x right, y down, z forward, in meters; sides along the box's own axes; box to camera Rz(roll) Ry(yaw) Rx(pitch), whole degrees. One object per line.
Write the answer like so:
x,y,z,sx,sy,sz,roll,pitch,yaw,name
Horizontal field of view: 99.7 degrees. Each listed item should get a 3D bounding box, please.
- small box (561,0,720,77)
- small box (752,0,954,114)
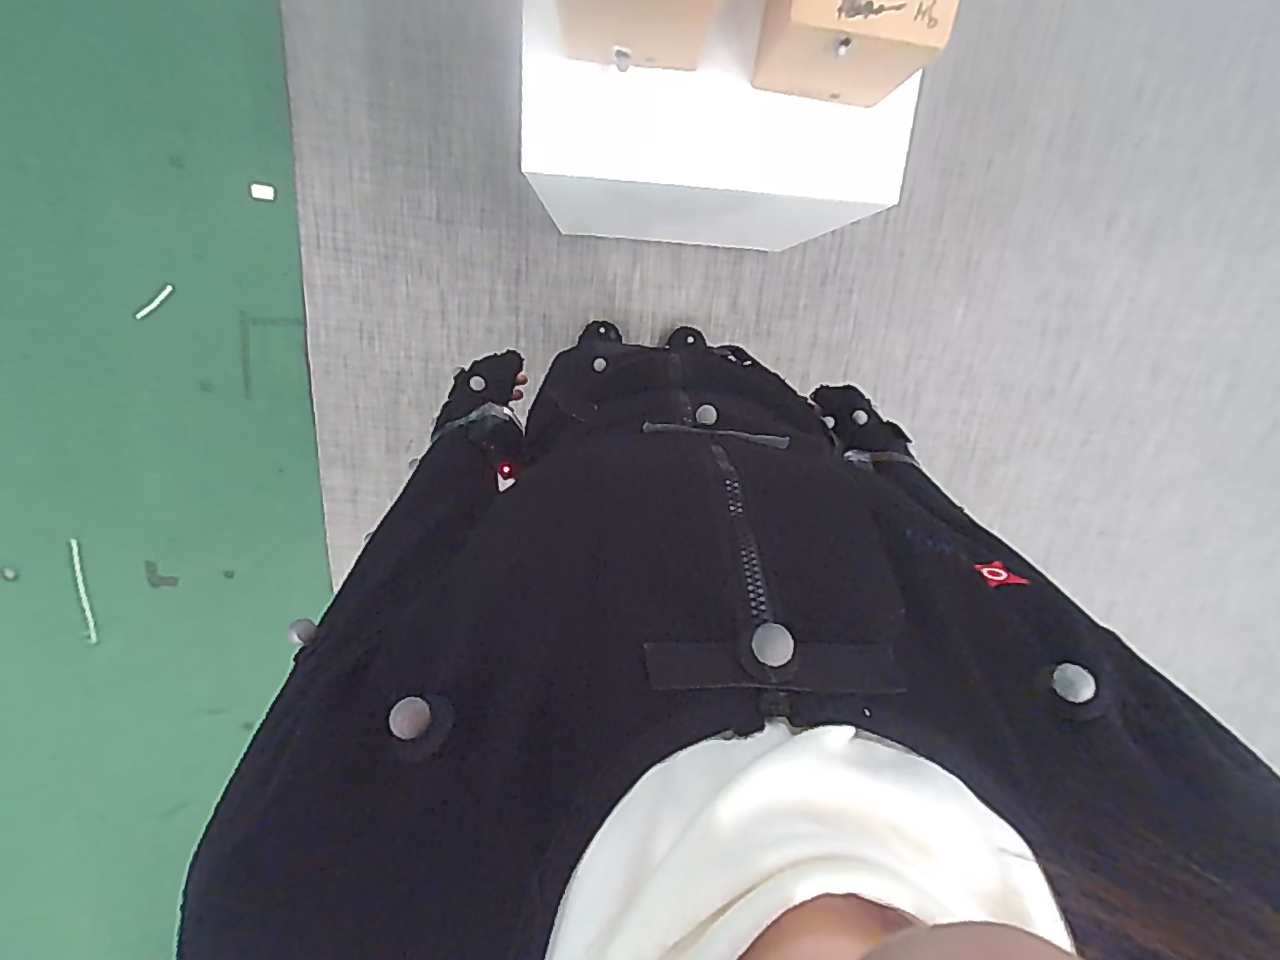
-0.001,-0.576,0.583,0.168,0.176,0.179,2,108,-2,small box
0.234,-0.547,0.598,0.168,0.176,0.179,7,106,-4,small box
